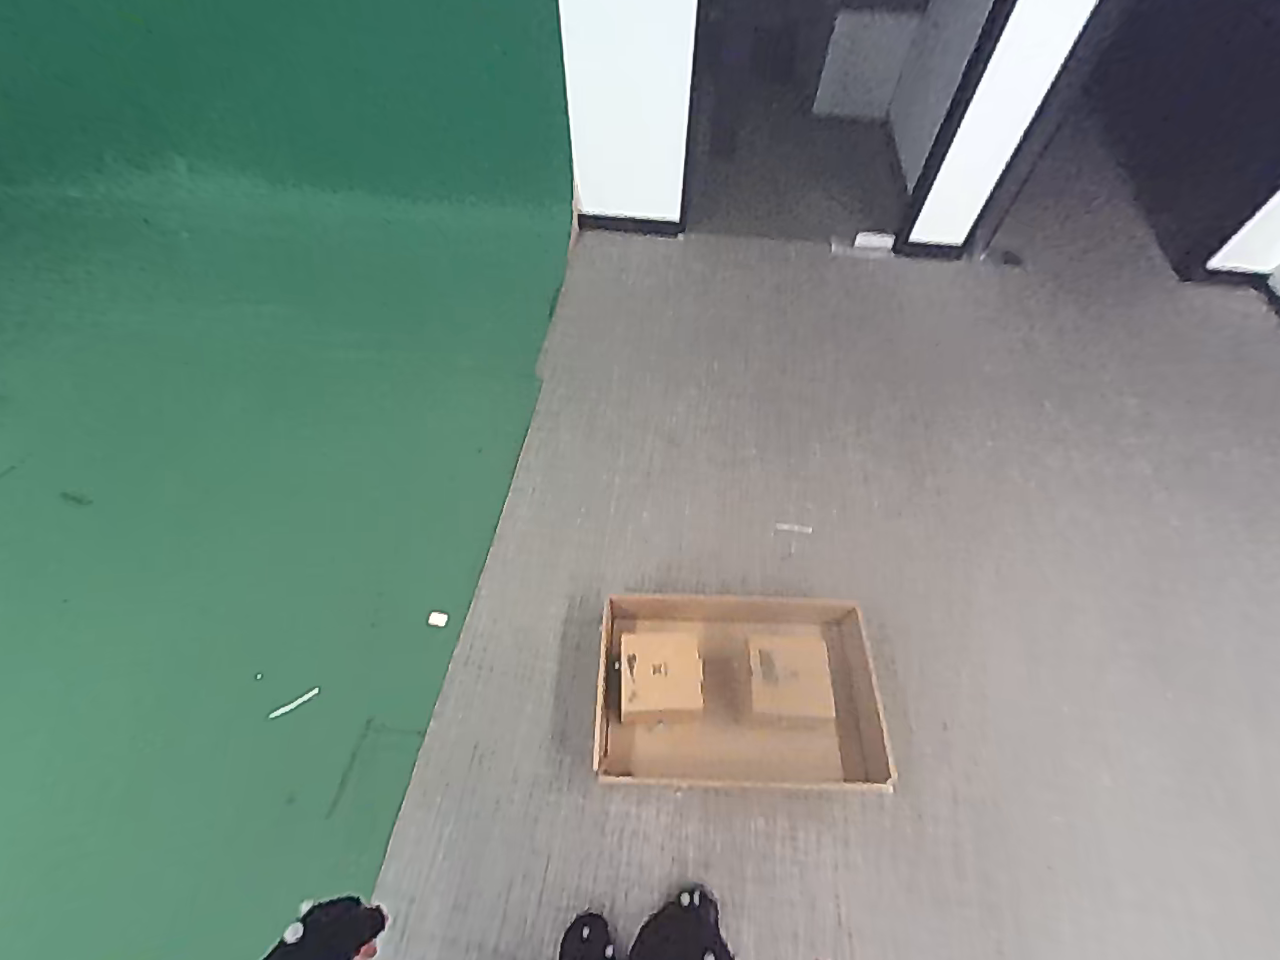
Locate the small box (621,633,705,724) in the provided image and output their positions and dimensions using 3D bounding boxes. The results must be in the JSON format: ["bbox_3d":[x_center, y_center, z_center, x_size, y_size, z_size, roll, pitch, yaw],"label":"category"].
[{"bbox_3d":[0.046,0.459,1.246,0.179,0.176,0.168,0,56,-3],"label":"small box"}]

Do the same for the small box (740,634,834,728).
[{"bbox_3d":[0.327,0.467,1.246,0.179,0.176,0.168,3,57,2],"label":"small box"}]
